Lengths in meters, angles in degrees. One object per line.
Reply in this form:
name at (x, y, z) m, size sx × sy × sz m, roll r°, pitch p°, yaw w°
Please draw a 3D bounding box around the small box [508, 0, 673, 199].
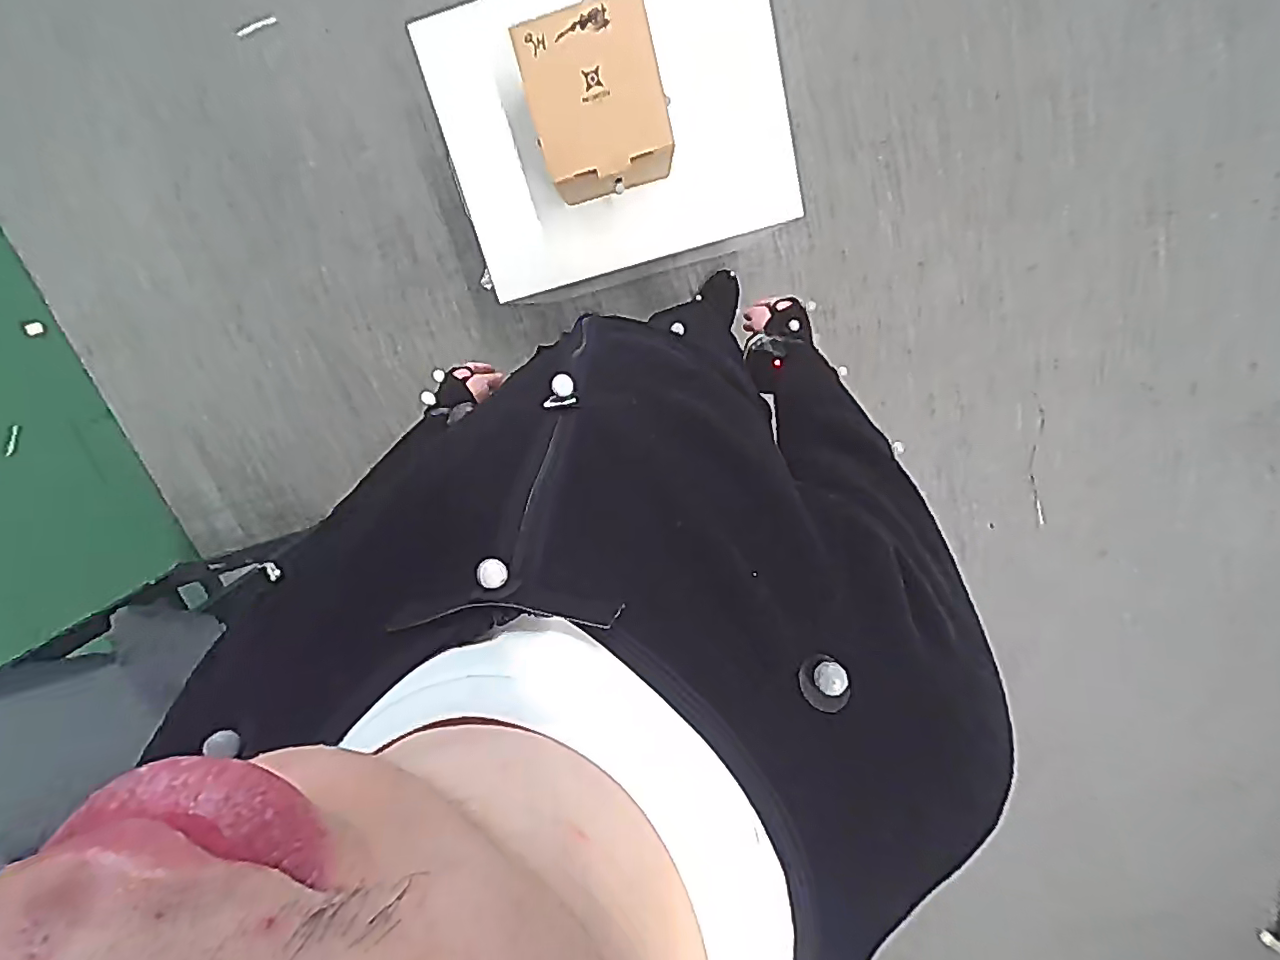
small box at (-0.056, -0.504, 0.739) m, size 0.168 × 0.176 × 0.179 m, roll -16°, pitch 107°, yaw 6°
